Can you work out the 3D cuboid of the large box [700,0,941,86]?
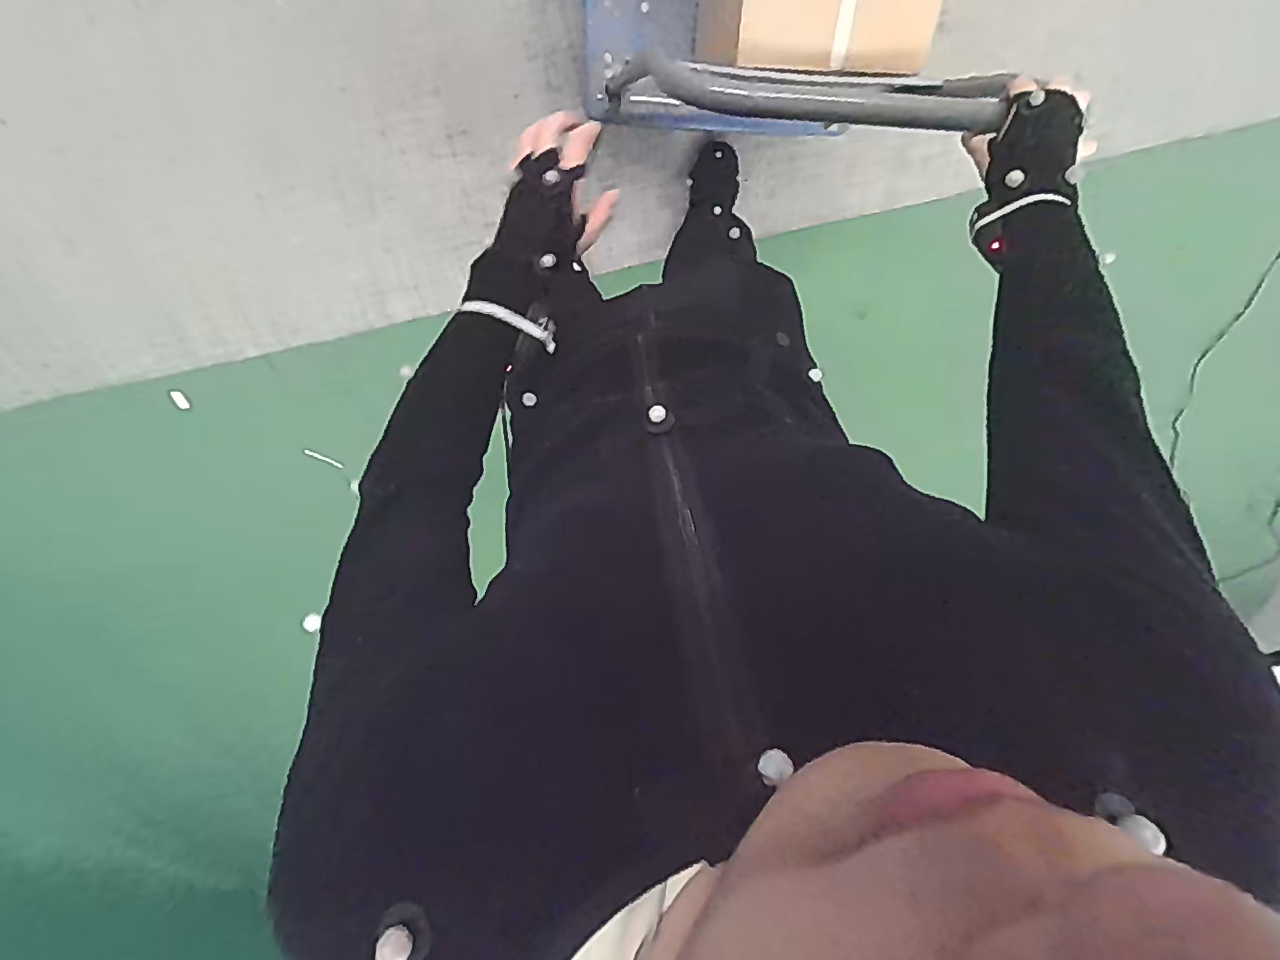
[{"bbox_3d":[0.287,-0.884,0.864,0.320,0.320,0.408,-3,125,-8],"label":"large box"}]
